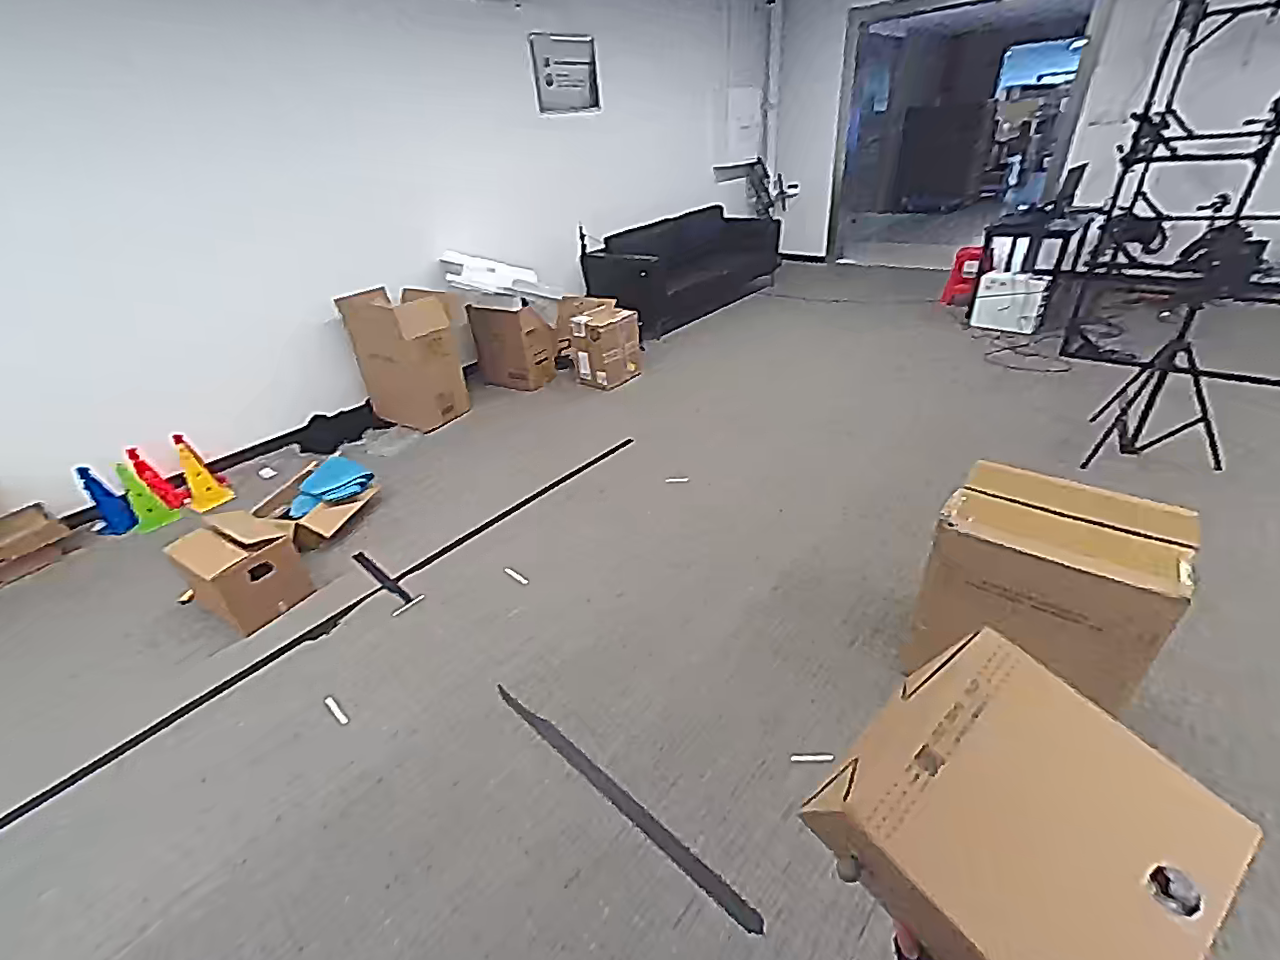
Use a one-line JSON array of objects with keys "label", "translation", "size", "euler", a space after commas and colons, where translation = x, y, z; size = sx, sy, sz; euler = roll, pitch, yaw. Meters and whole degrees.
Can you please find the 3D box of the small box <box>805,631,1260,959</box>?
[{"label": "small box", "translation": [0.243, 0.237, 0.387], "size": [0.168, 0.179, 0.176], "euler": [-41, 63, -17]}]
